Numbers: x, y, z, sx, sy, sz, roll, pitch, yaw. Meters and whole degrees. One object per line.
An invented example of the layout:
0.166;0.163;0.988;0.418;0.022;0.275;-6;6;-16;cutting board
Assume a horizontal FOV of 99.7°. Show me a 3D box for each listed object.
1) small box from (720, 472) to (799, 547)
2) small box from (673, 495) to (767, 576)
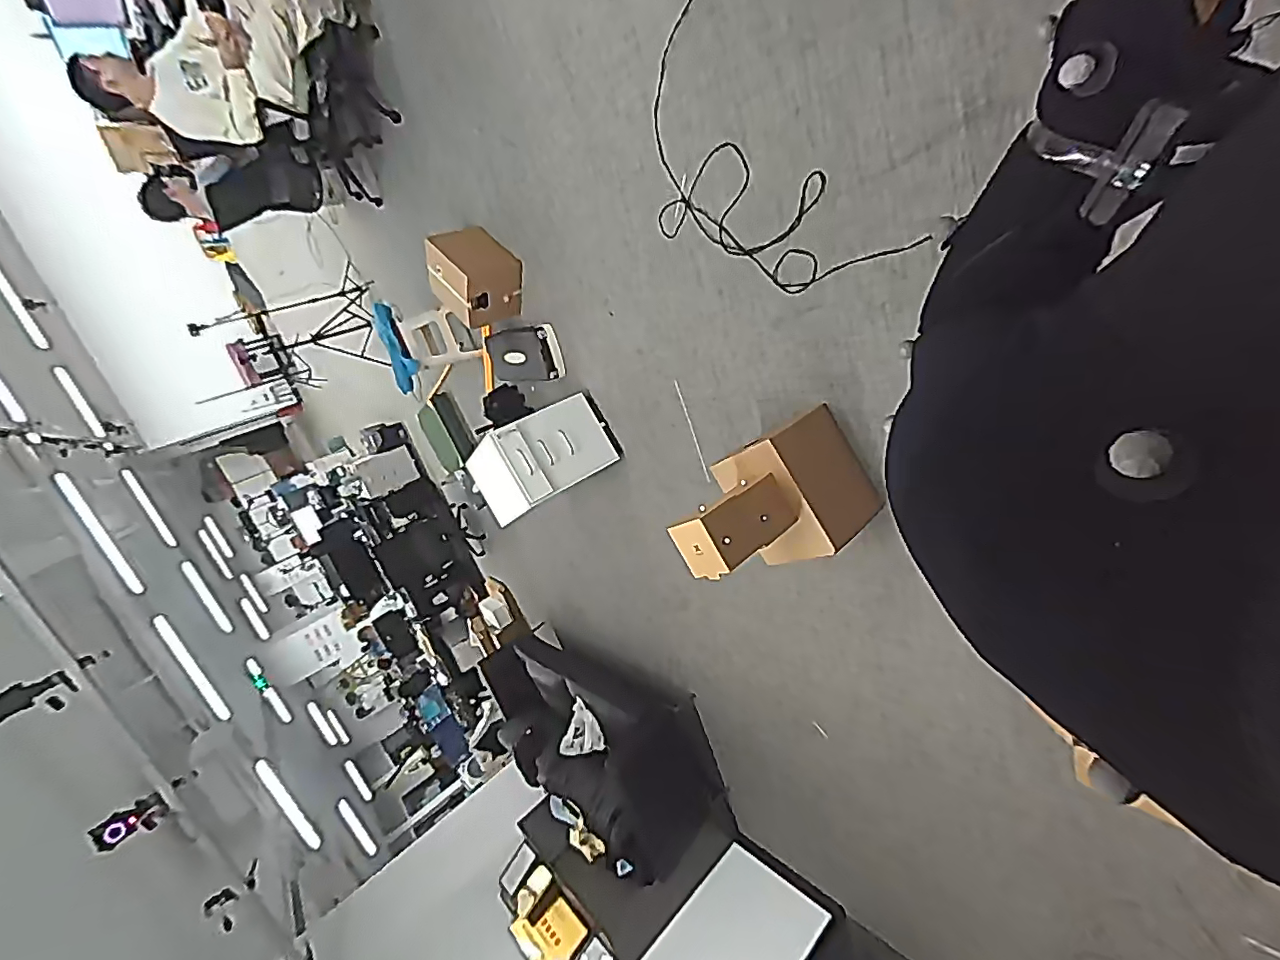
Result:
0.362;0.100;1.683;0.179;0.176;0.168;60;147;-1;small box
0.238;0.158;1.594;0.179;0.176;0.168;60;146;-2;small box
